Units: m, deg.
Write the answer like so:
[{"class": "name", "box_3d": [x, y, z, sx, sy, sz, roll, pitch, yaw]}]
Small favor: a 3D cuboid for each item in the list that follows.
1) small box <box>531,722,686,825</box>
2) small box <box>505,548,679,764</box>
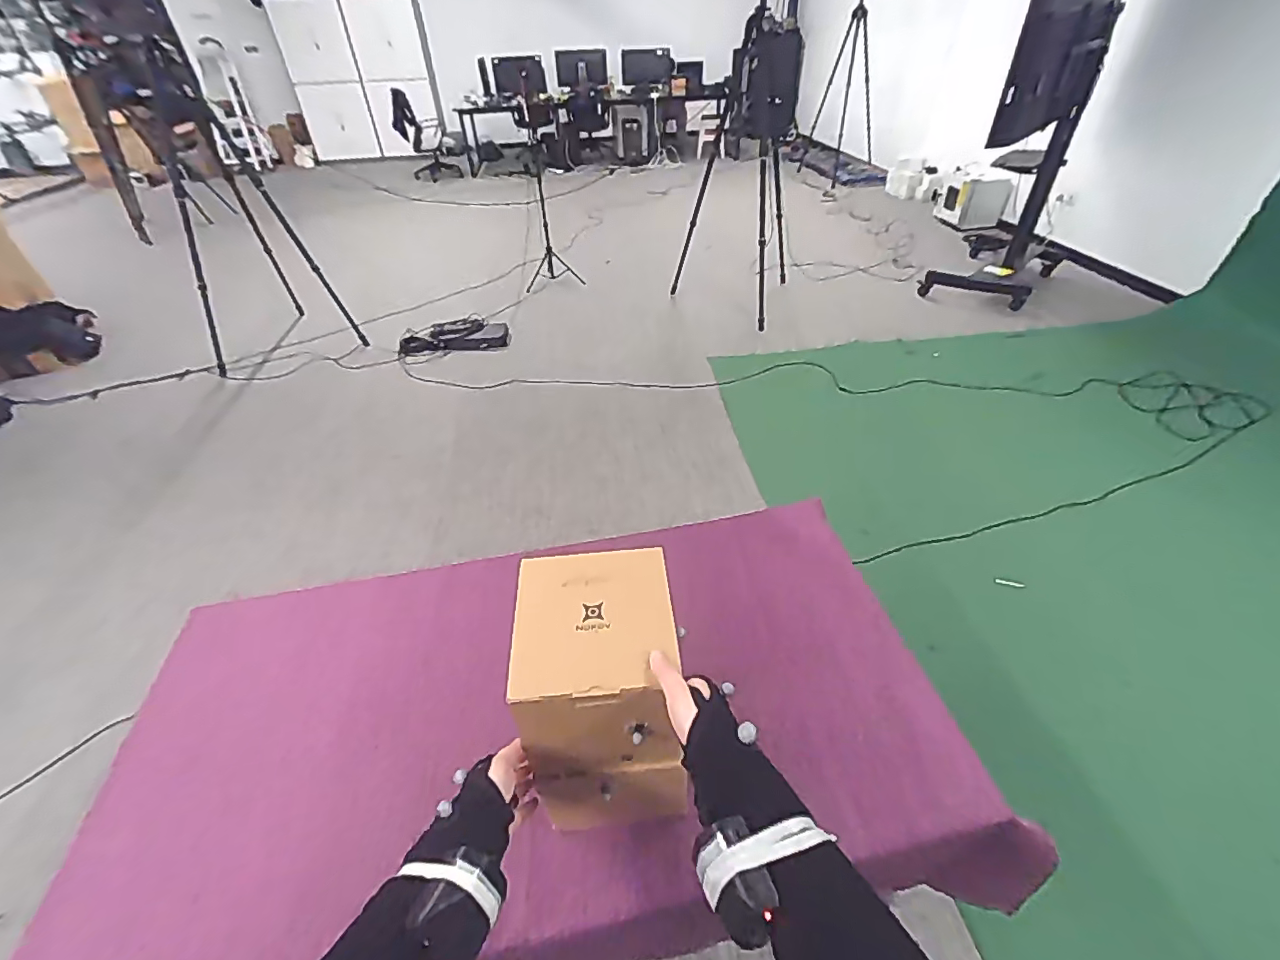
[{"class": "small box", "box_3d": [-0.037, 0.332, 0.714, 0.179, 0.176, 0.168, -6, 41, -2]}, {"class": "small box", "box_3d": [-0.046, 0.203, 0.615, 0.168, 0.176, 0.179, -5, 40, -2]}]
